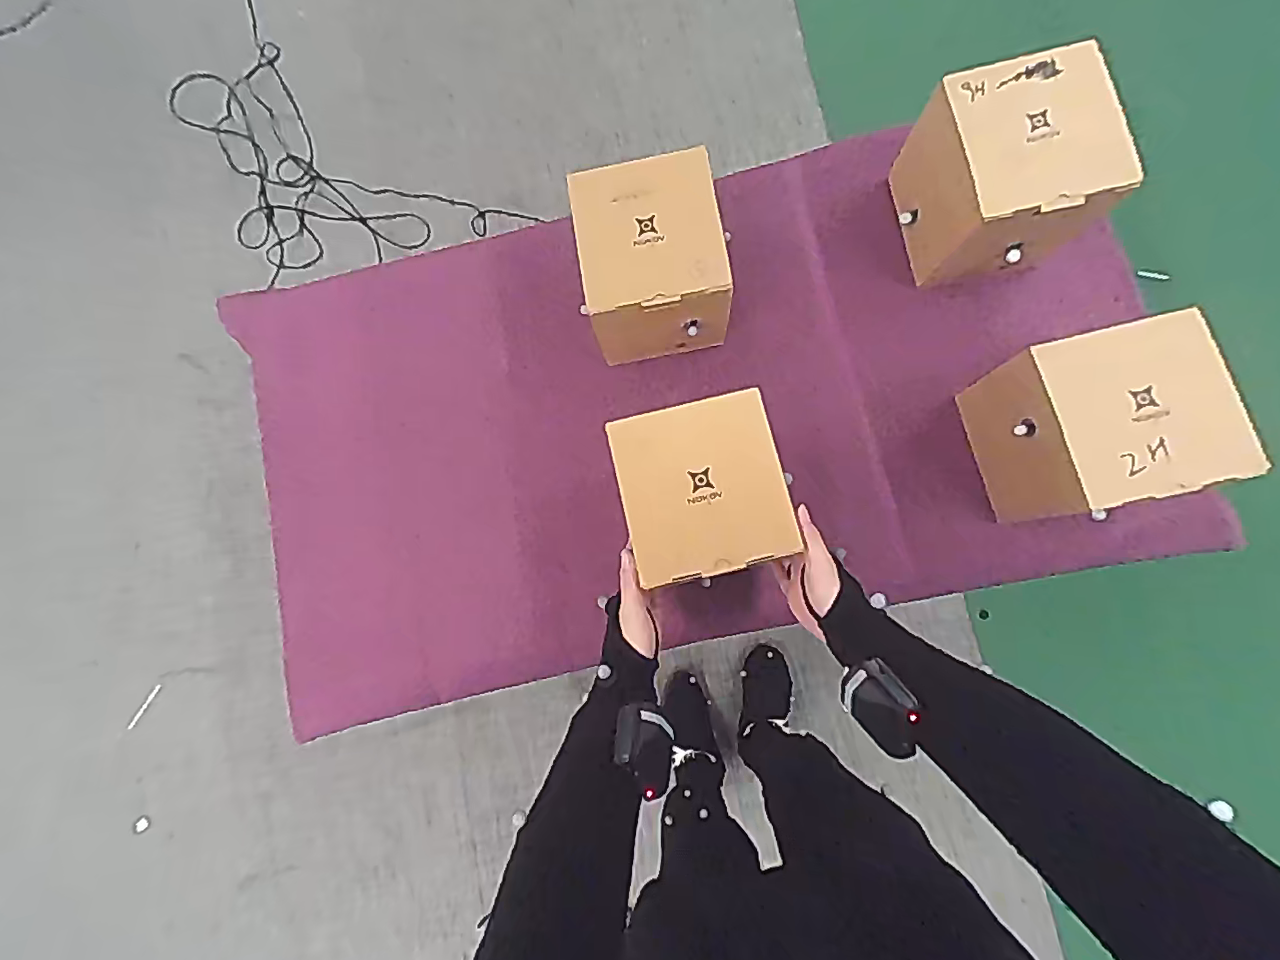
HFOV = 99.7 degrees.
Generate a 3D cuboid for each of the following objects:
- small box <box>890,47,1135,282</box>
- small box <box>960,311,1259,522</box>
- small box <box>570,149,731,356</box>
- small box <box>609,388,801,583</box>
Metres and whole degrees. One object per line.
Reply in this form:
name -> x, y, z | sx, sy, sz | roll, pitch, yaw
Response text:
small box -> 0.433, -0.362, 0.661 | 0.168, 0.176, 0.179 | -11, 84, 4
small box -> 0.498, -0.058, 0.609 | 0.168, 0.176, 0.179 | -13, 80, 5
small box -> 0.017, -0.270, 0.688 | 0.168, 0.176, 0.179 | -9, 81, 3
small box -> 0.065, 0.018, 0.625 | 0.168, 0.176, 0.179 | -13, 79, 0
